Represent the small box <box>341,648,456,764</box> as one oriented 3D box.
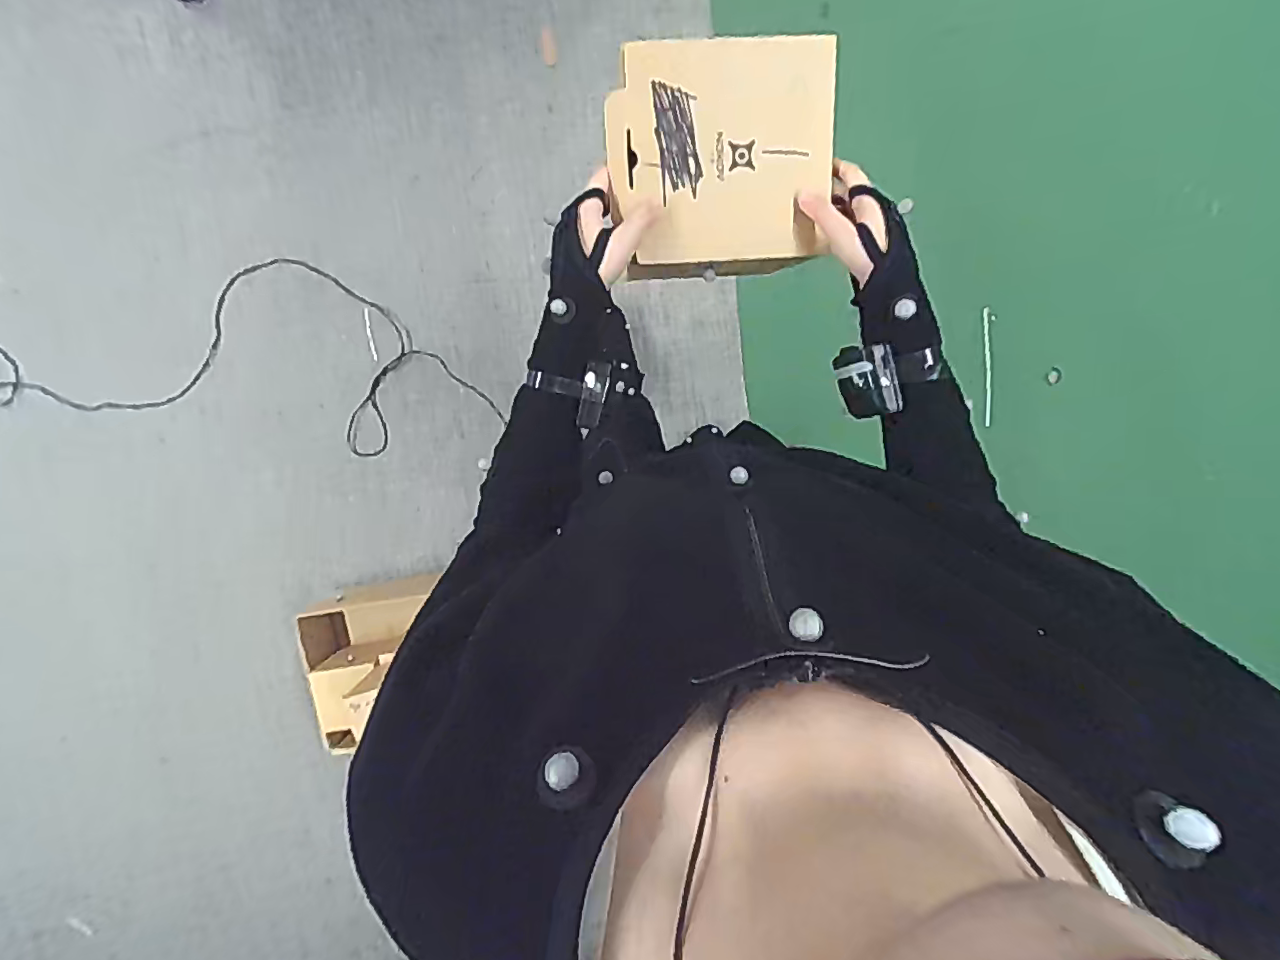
[{"bbox_3d":[-0.566,0.533,1.294,0.168,0.176,0.179,-17,97,2],"label":"small box"}]
